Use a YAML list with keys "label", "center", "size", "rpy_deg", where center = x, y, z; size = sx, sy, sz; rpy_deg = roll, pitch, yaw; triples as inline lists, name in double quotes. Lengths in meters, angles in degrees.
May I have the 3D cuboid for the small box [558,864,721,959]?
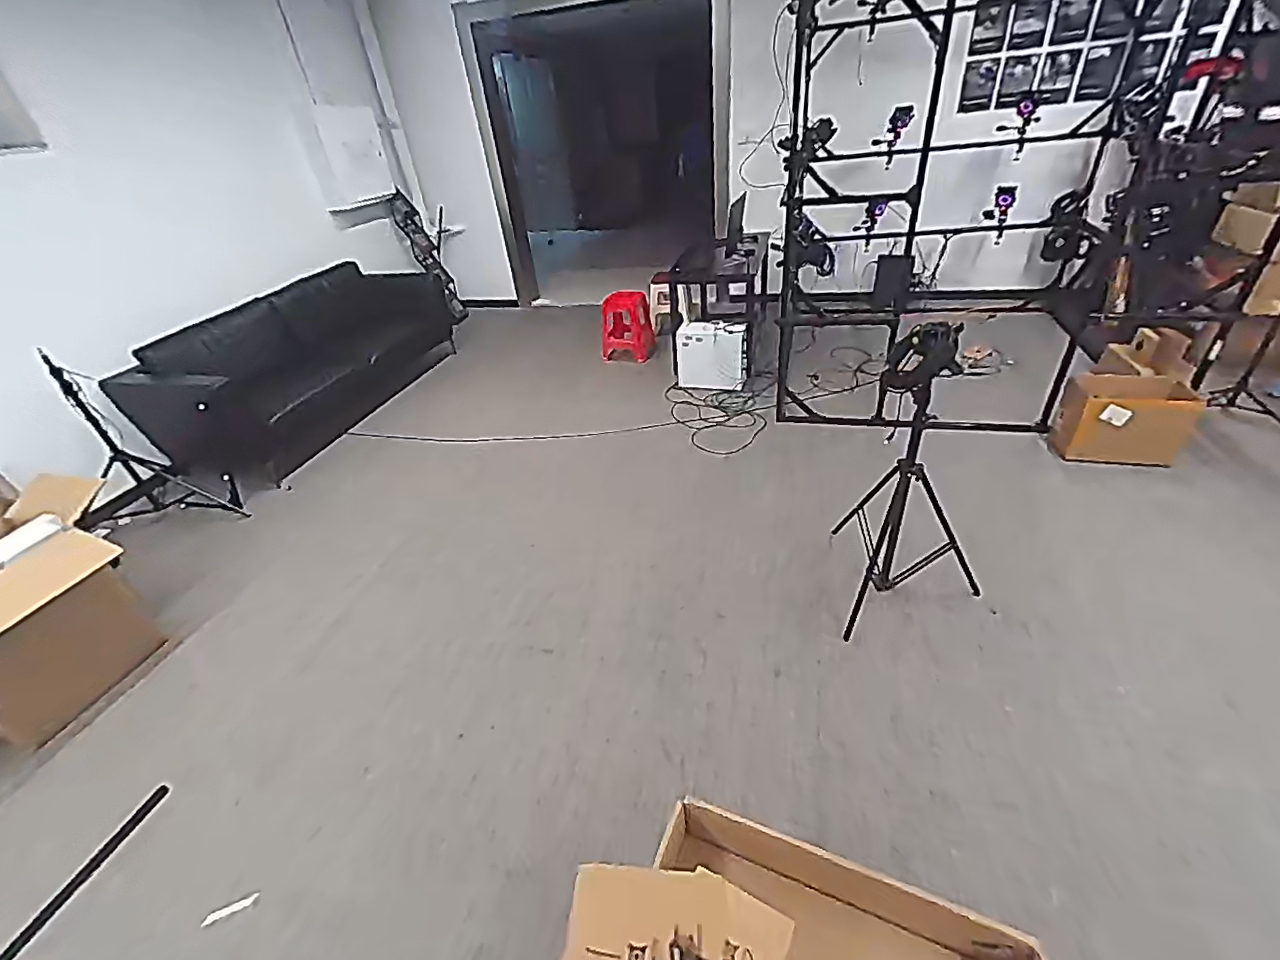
- label: "small box"
  center: [-0.001, 0.576, 0.626]
  size: [0.179, 0.176, 0.168]
  rpy_deg: [3, 38, 5]
